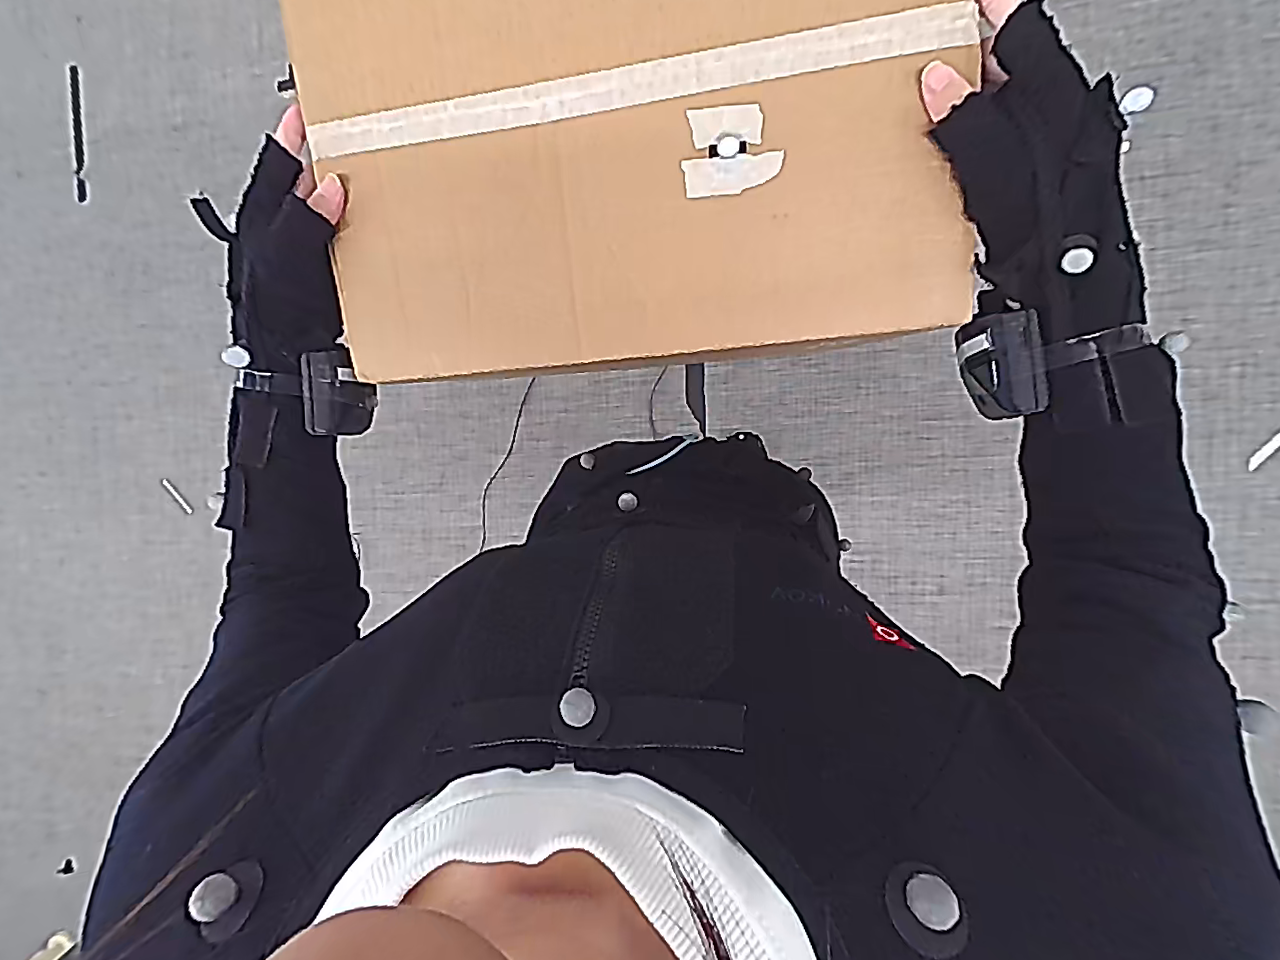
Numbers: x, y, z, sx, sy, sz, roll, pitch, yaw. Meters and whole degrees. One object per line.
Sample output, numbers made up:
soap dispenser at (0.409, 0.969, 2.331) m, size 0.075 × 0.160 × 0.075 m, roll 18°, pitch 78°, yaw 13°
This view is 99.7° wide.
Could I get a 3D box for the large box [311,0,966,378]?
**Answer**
large box at (0.007, -0.269, 0.482) m, size 0.408 × 0.320 × 0.320 m, roll -4°, pitch 101°, yaw 8°
